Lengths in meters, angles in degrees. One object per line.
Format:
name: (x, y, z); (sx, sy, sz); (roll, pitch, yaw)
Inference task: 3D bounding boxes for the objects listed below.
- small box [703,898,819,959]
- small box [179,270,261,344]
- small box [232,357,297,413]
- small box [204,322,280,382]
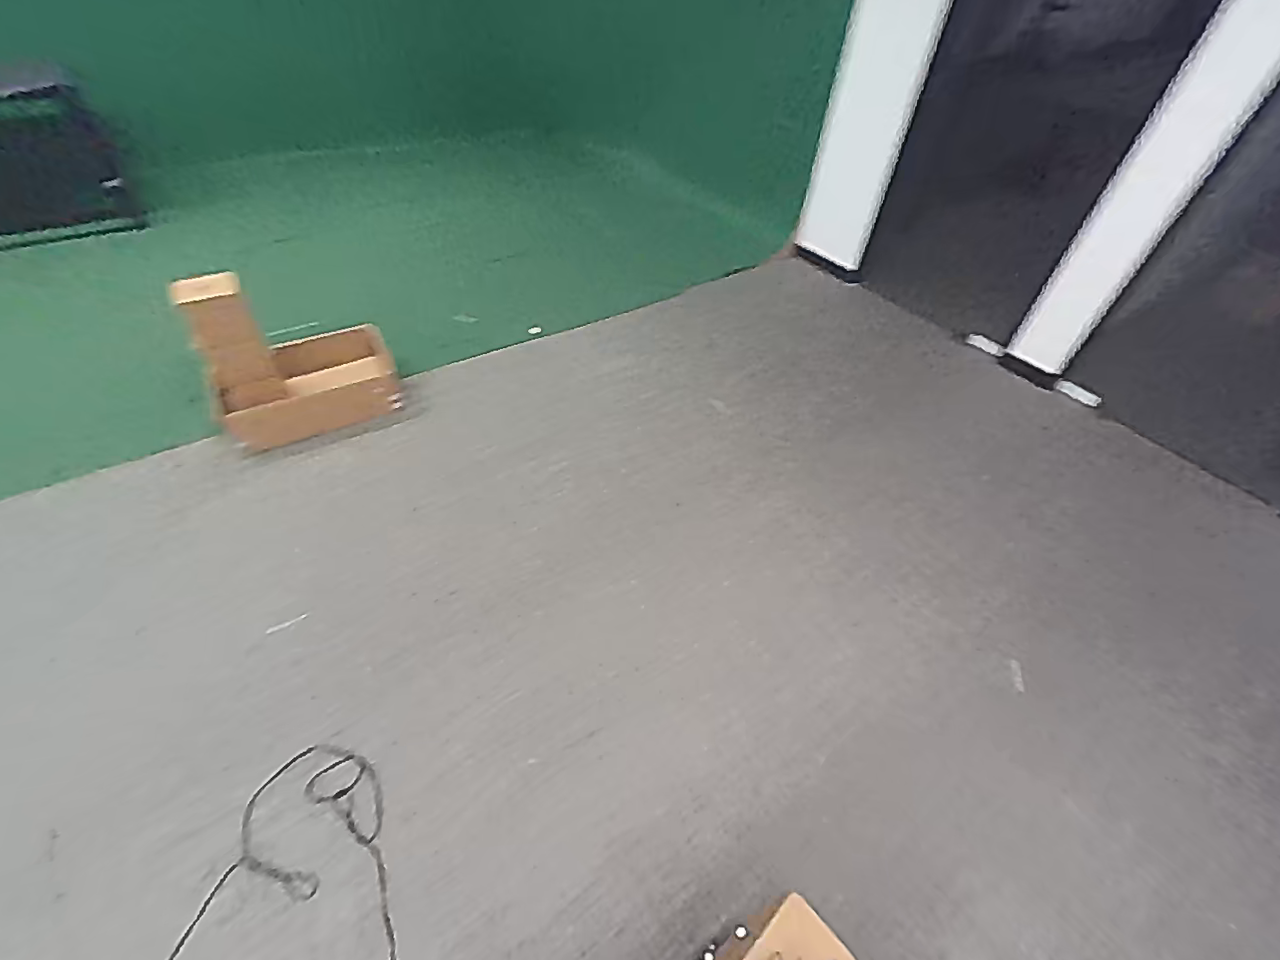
small box: (0.209, 0.871, 0.927); (0.179, 0.176, 0.168); (-28, 56, -28)
small box: (-1.442, -0.596, 1.867); (0.179, 0.176, 0.168); (-23, 53, -23)
small box: (-1.473, -0.380, 2.114); (0.168, 0.176, 0.179); (-23, 54, -24)
small box: (-1.462, -0.482, 1.986); (0.179, 0.176, 0.168); (-22, 53, -24)
